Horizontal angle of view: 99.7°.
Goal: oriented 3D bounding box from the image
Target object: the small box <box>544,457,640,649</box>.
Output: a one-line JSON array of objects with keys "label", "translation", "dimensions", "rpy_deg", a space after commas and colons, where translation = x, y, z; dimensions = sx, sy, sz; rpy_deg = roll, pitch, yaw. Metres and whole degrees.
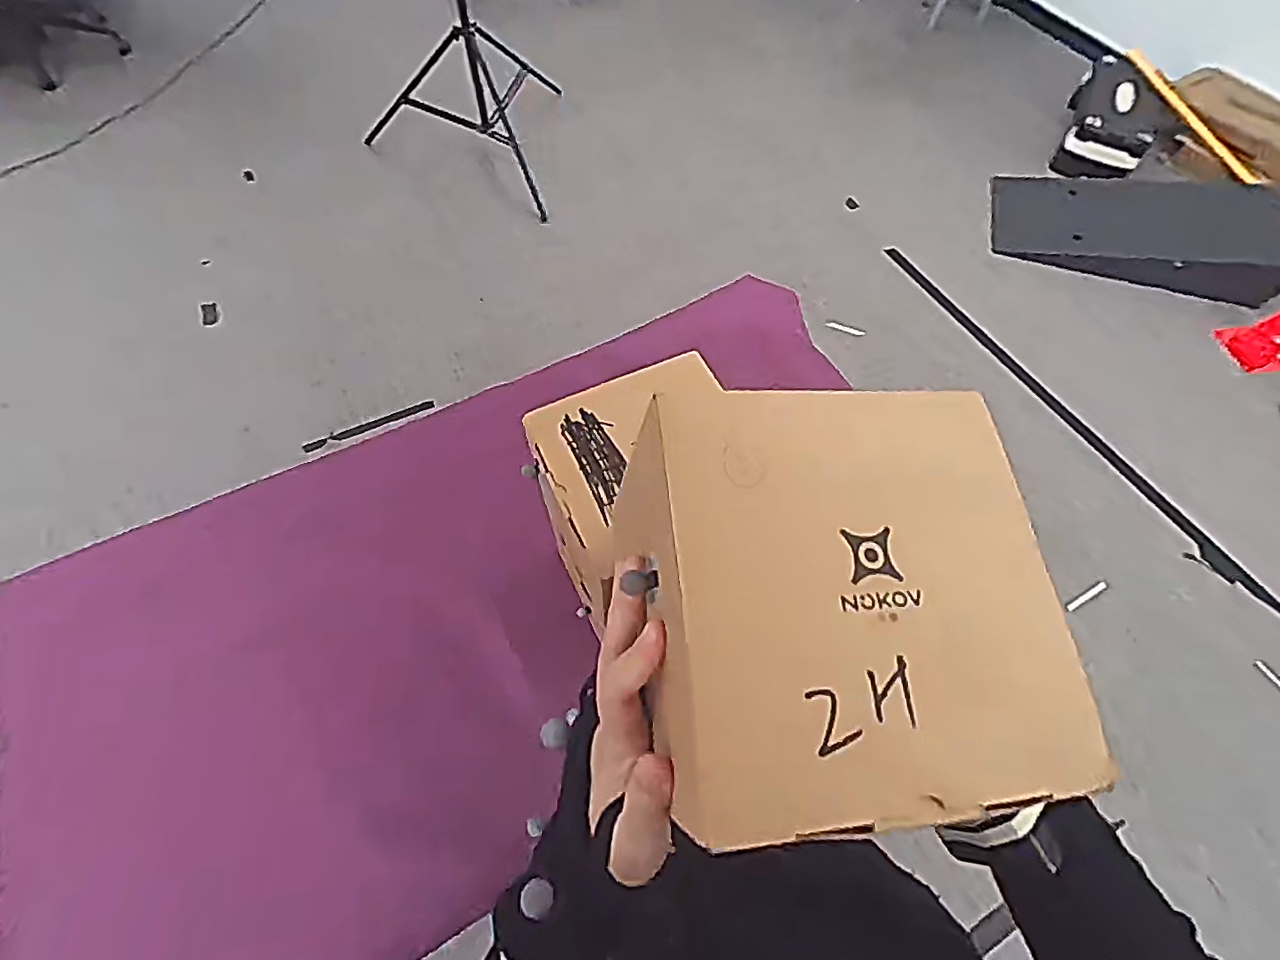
[{"label": "small box", "translation": [0.000, 0.089, 0.670], "dimensions": [0.179, 0.176, 0.168], "rpy_deg": [-23, 67, -14]}]

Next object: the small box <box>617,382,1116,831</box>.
[{"label": "small box", "translation": [0.080, 0.065, 0.294], "dimensions": [0.168, 0.176, 0.179], "rpy_deg": [-2, 68, -9]}]
